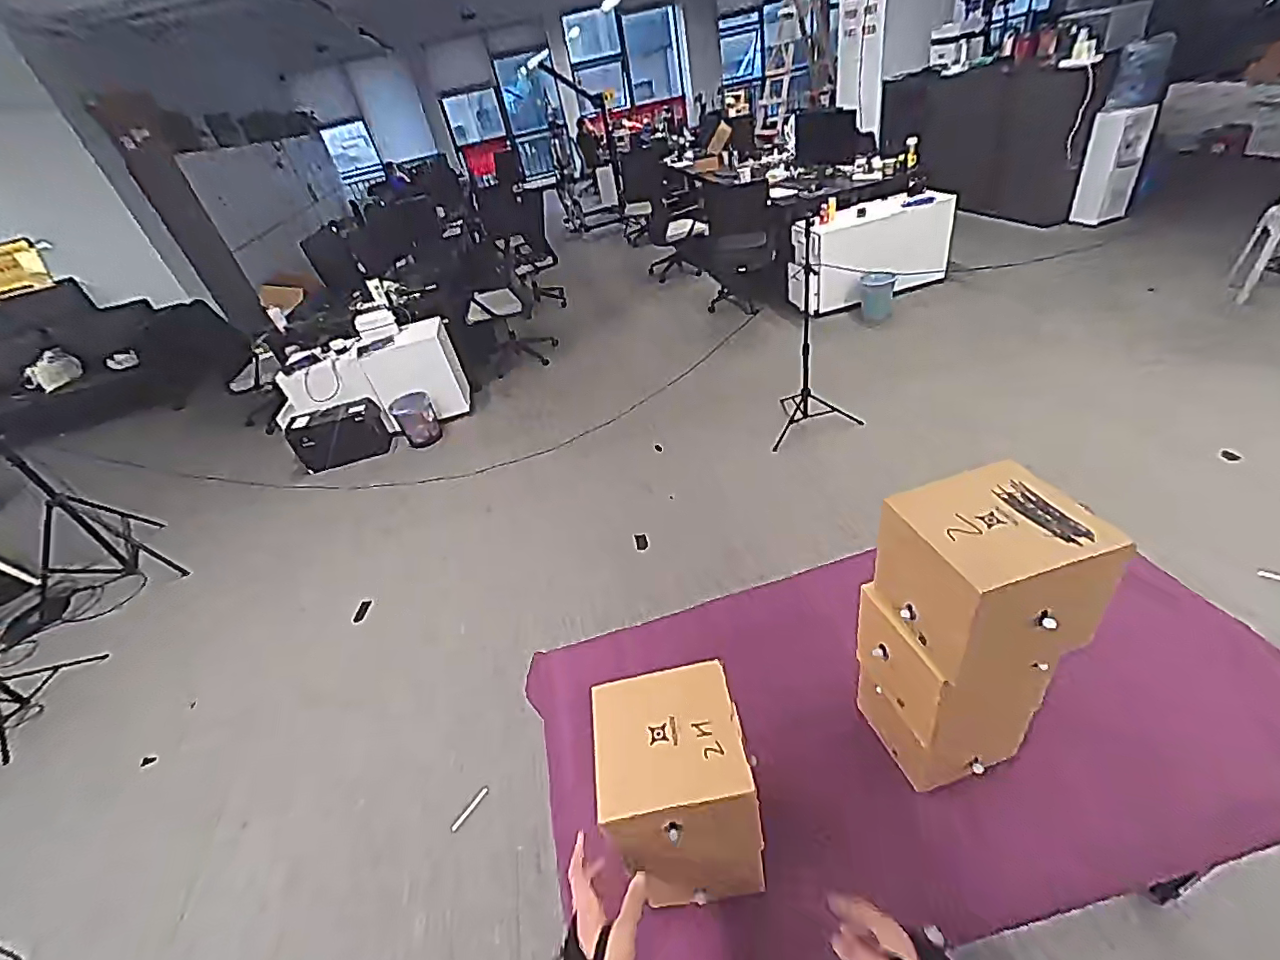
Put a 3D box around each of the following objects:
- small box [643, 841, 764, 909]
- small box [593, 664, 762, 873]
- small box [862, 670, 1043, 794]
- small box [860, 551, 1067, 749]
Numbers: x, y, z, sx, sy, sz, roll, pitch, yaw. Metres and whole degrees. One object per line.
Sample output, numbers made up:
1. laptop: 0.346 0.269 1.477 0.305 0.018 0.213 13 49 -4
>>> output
1. small box: 0.080 0.487 0.790 0.168 0.176 0.179 -11 37 3
2. small box: 0.046 0.366 0.684 0.179 0.176 0.168 -12 37 2
3. small box: 0.471 0.351 0.849 0.179 0.176 0.168 -17 35 -7
4. small box: 0.426 0.234 0.744 0.179 0.176 0.168 -17 36 -6
